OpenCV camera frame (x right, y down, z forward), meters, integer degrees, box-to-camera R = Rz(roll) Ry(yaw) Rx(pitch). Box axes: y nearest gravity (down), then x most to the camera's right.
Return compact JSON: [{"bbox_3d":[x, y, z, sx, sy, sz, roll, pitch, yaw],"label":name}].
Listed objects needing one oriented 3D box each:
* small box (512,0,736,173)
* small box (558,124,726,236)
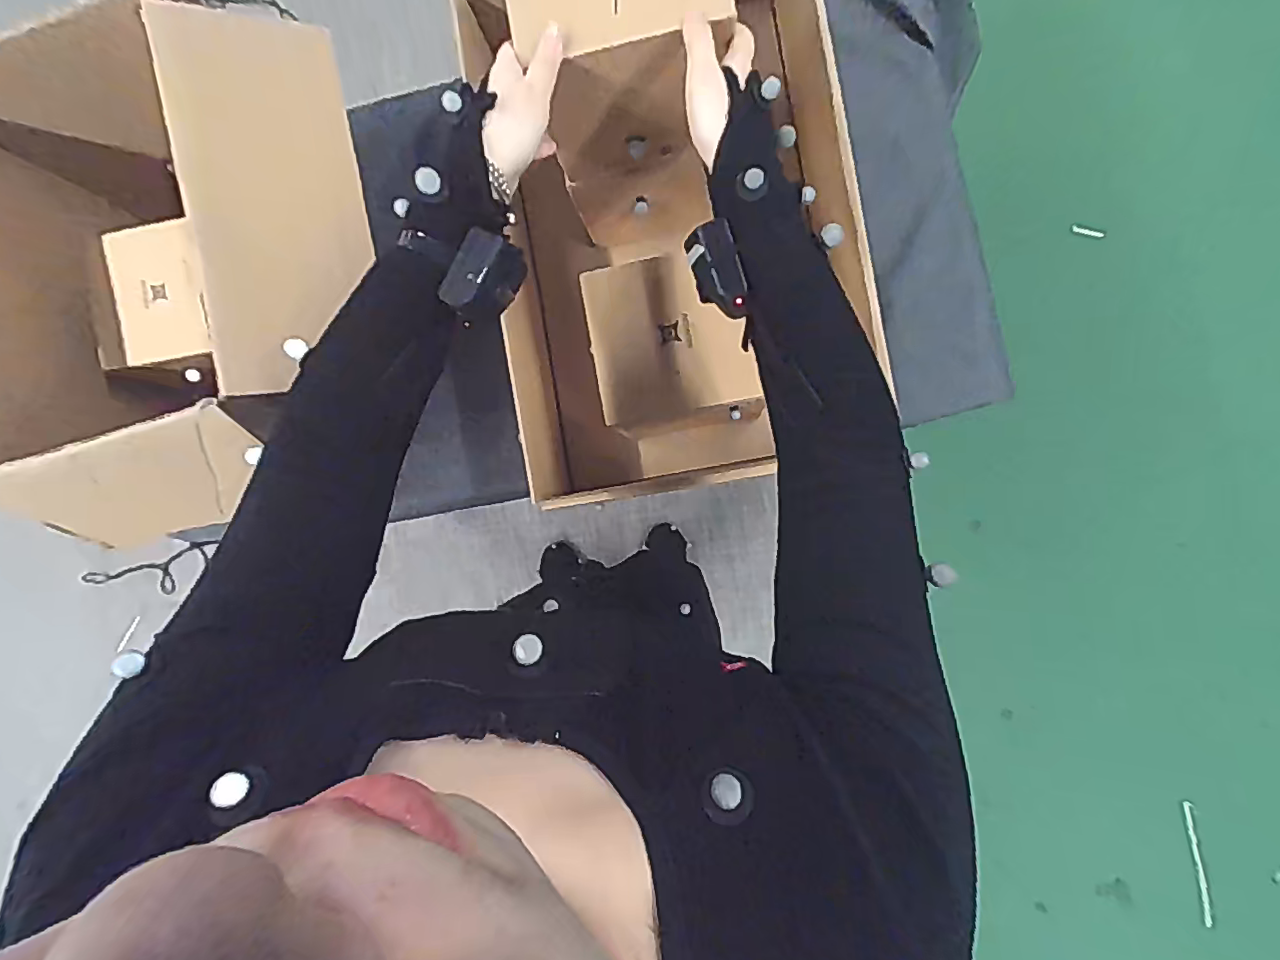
[{"bbox_3d":[-0.014,-0.411,0.476,0.168,0.176,0.179,-8,93,6],"label":"small box"},{"bbox_3d":[0.002,-0.413,0.639,0.179,0.176,0.168,-10,92,7],"label":"small box"}]
